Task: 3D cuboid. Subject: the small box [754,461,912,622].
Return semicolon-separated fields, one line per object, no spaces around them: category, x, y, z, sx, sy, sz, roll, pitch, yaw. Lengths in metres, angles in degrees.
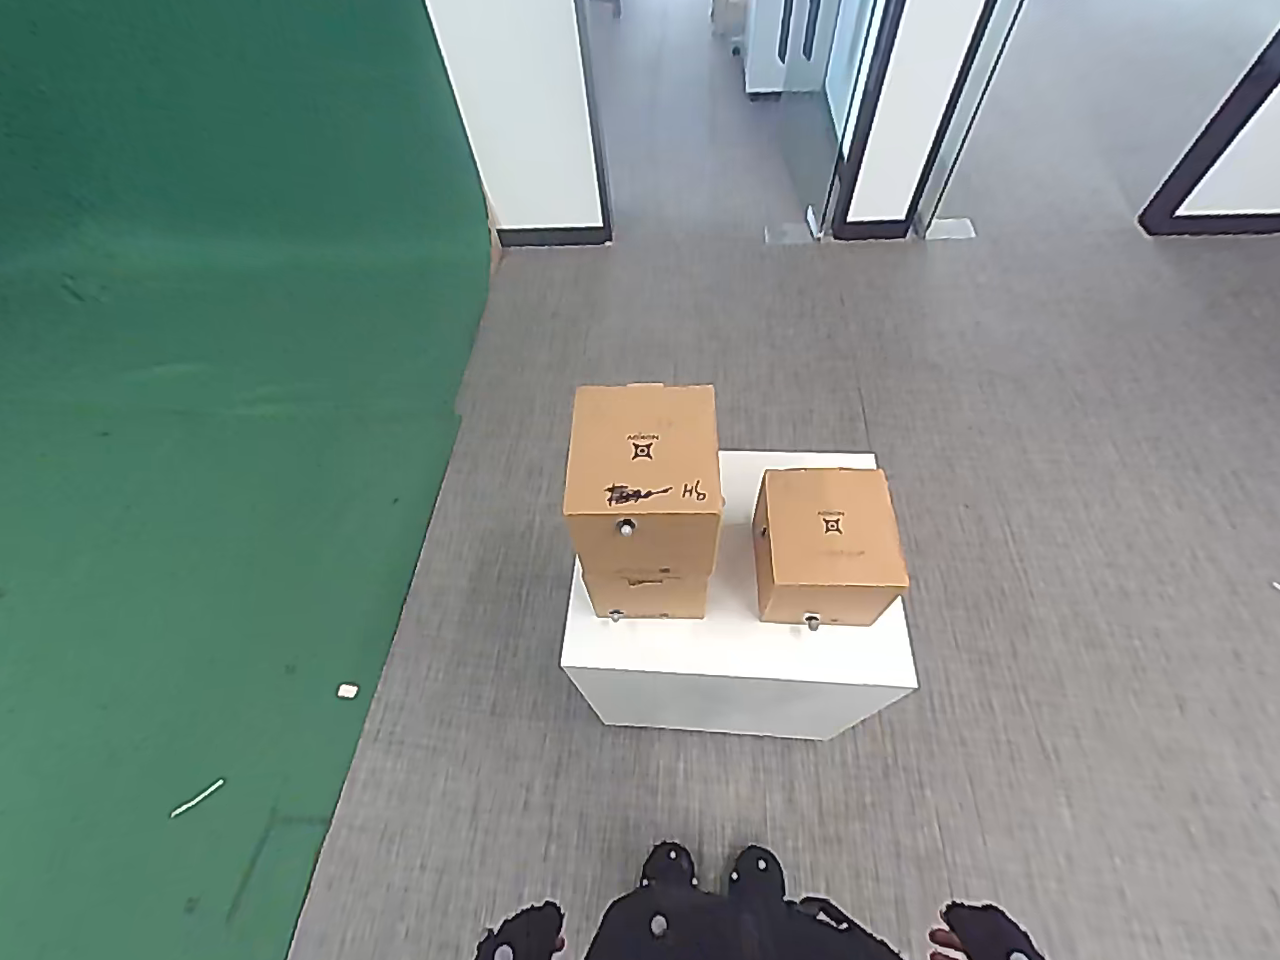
small box;0.258;0.091;0.771;0.168;0.176;0.179;-2;59;5

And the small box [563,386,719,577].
small box;0.007;0.005;0.669;0.168;0.176;0.179;-1;57;4

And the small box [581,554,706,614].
small box;0.013;0.092;0.806;0.168;0.176;0.179;-1;57;4
